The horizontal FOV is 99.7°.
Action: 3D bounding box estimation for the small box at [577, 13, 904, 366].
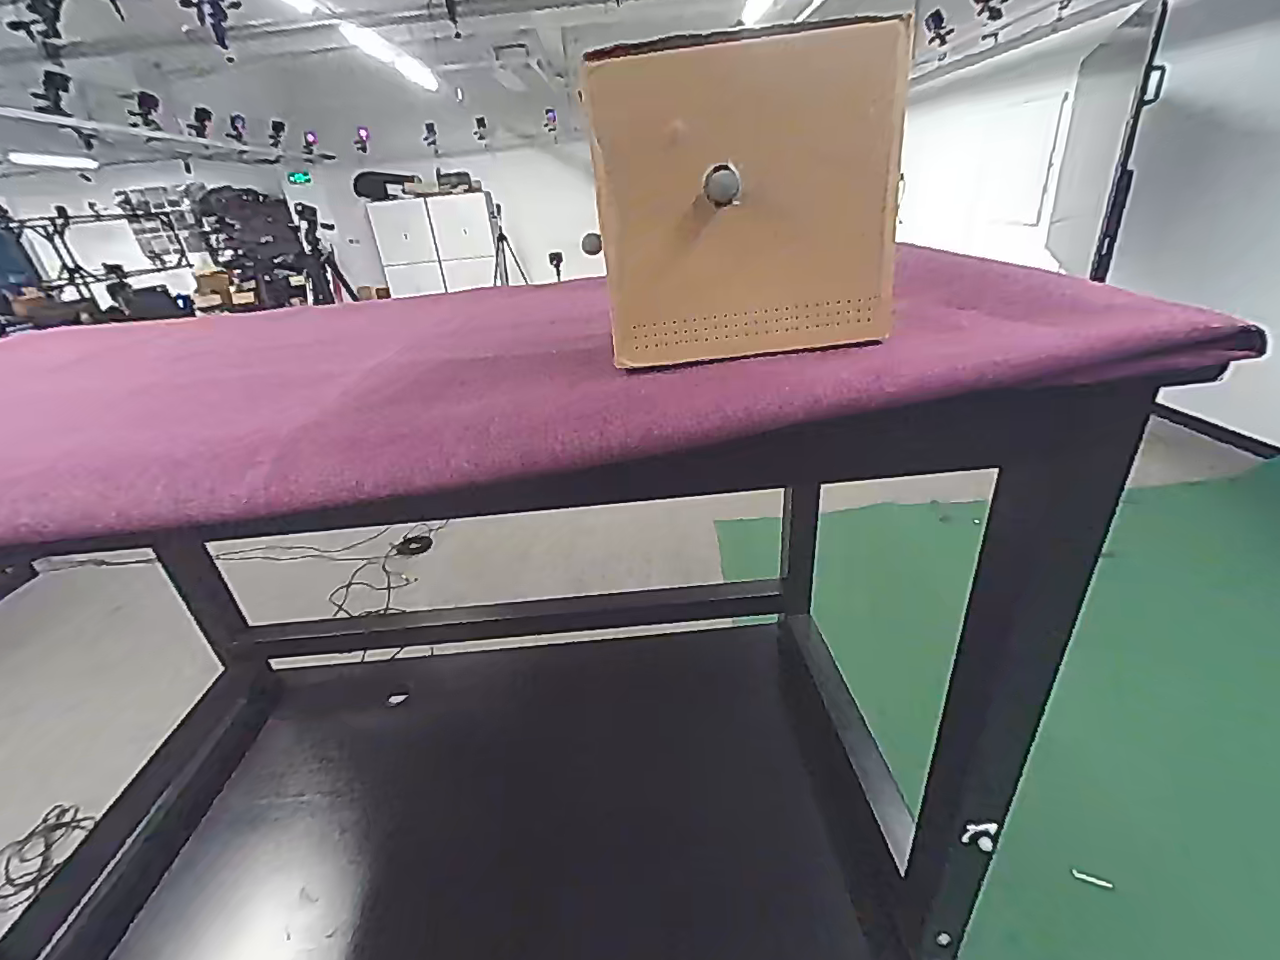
[{"bbox_3d":[0.062,-0.184,0.384,0.179,0.176,0.168,-7,25,2],"label":"small box"}]
